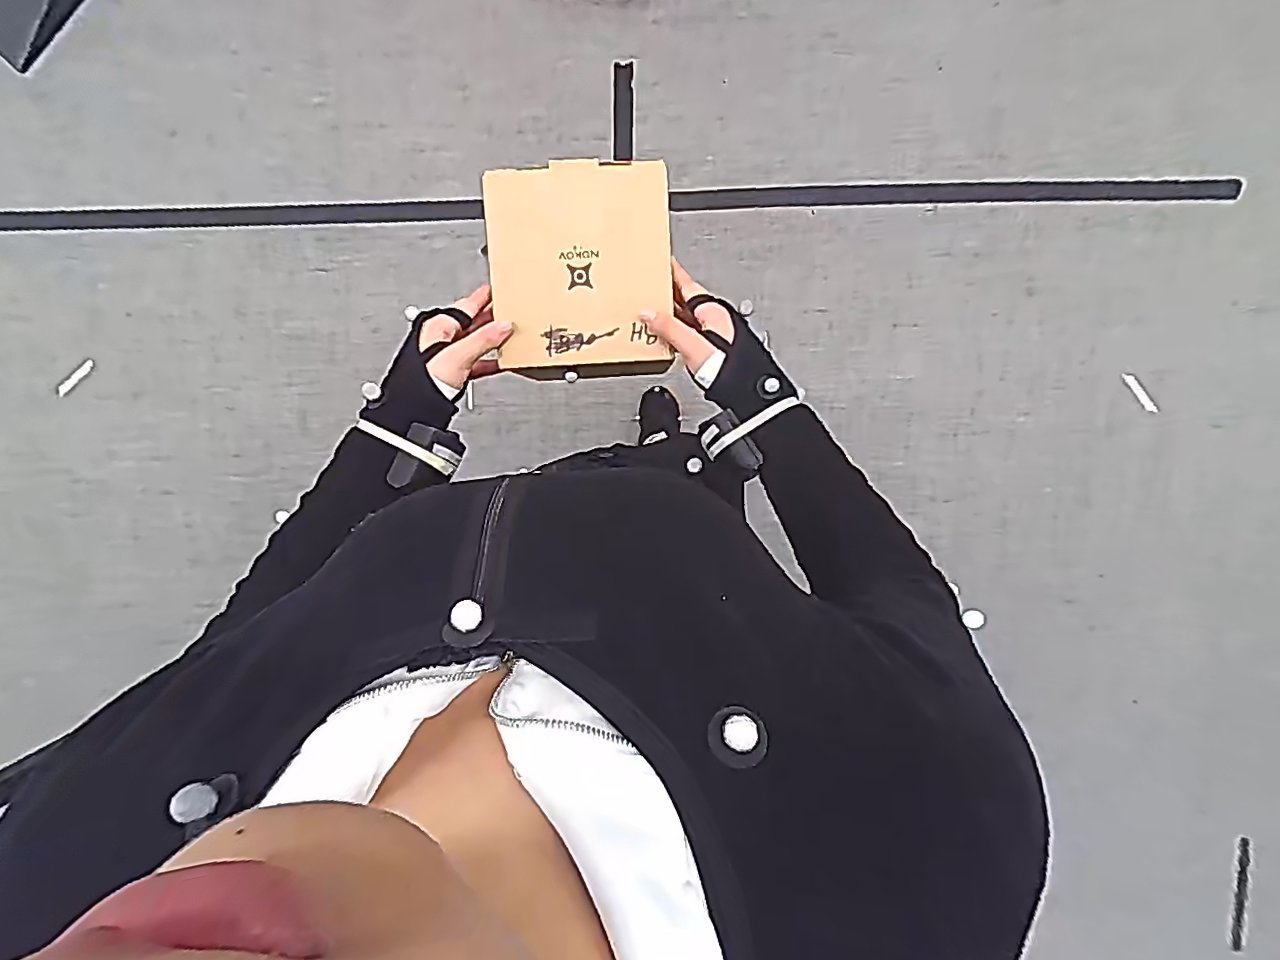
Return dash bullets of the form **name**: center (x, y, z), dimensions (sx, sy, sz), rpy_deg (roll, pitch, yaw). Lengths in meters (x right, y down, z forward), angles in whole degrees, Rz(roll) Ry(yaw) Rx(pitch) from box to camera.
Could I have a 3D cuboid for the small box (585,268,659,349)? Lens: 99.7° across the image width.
- **small box**: center (-0.043, -0.429, 1.369), dimensions (0.179, 0.176, 0.168), rpy_deg (-1, 95, 2)
